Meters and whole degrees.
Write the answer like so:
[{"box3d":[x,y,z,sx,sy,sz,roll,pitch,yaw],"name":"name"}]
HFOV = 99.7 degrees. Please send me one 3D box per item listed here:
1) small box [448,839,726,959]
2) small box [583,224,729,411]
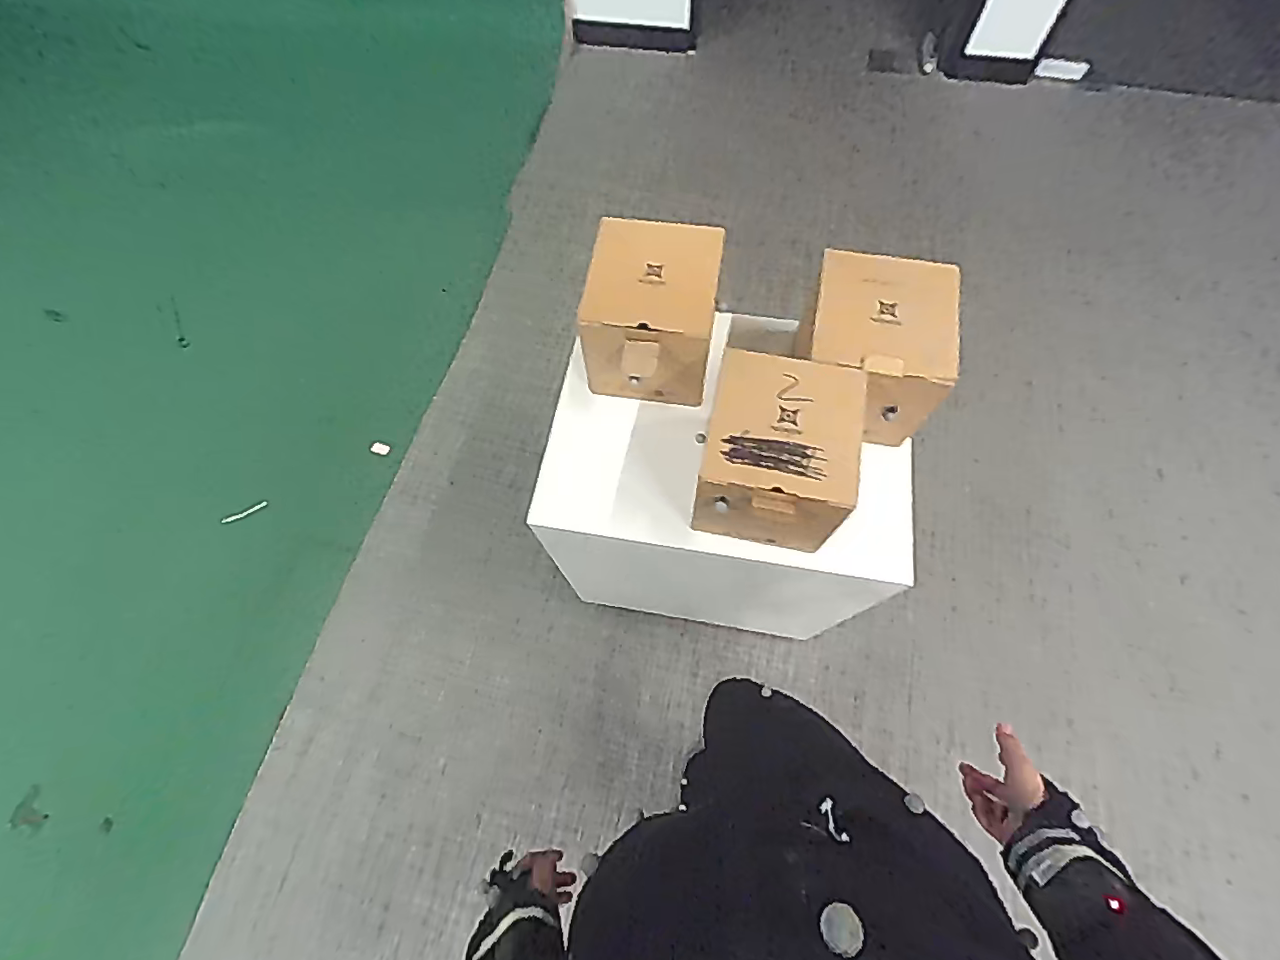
[{"box3d":[-0.055,0.387,0.354,0.168,0.176,0.179,28,29,-6],"name":"small box"},{"box3d":[0.025,-0.221,0.757,0.168,0.176,0.179,8,68,5],"name":"small box"}]
